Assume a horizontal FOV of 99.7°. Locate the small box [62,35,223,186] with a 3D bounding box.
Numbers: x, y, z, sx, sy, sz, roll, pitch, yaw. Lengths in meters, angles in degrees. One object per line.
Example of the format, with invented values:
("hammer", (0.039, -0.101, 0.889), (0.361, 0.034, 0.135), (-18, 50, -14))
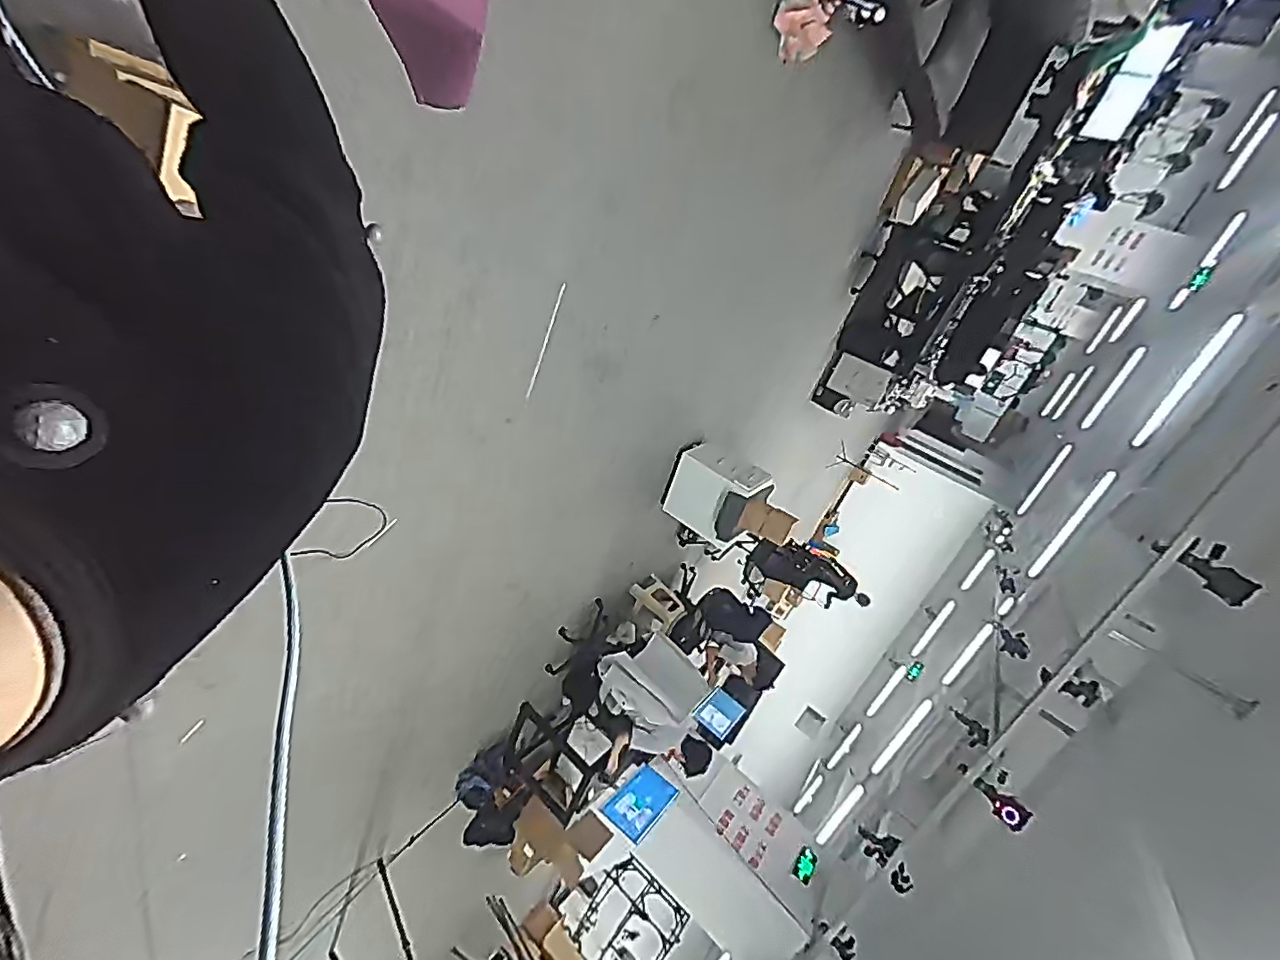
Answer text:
("small box", (-0.899, -0.668, 0.982), (0.179, 0.176, 0.168), (-14, 132, -54))
